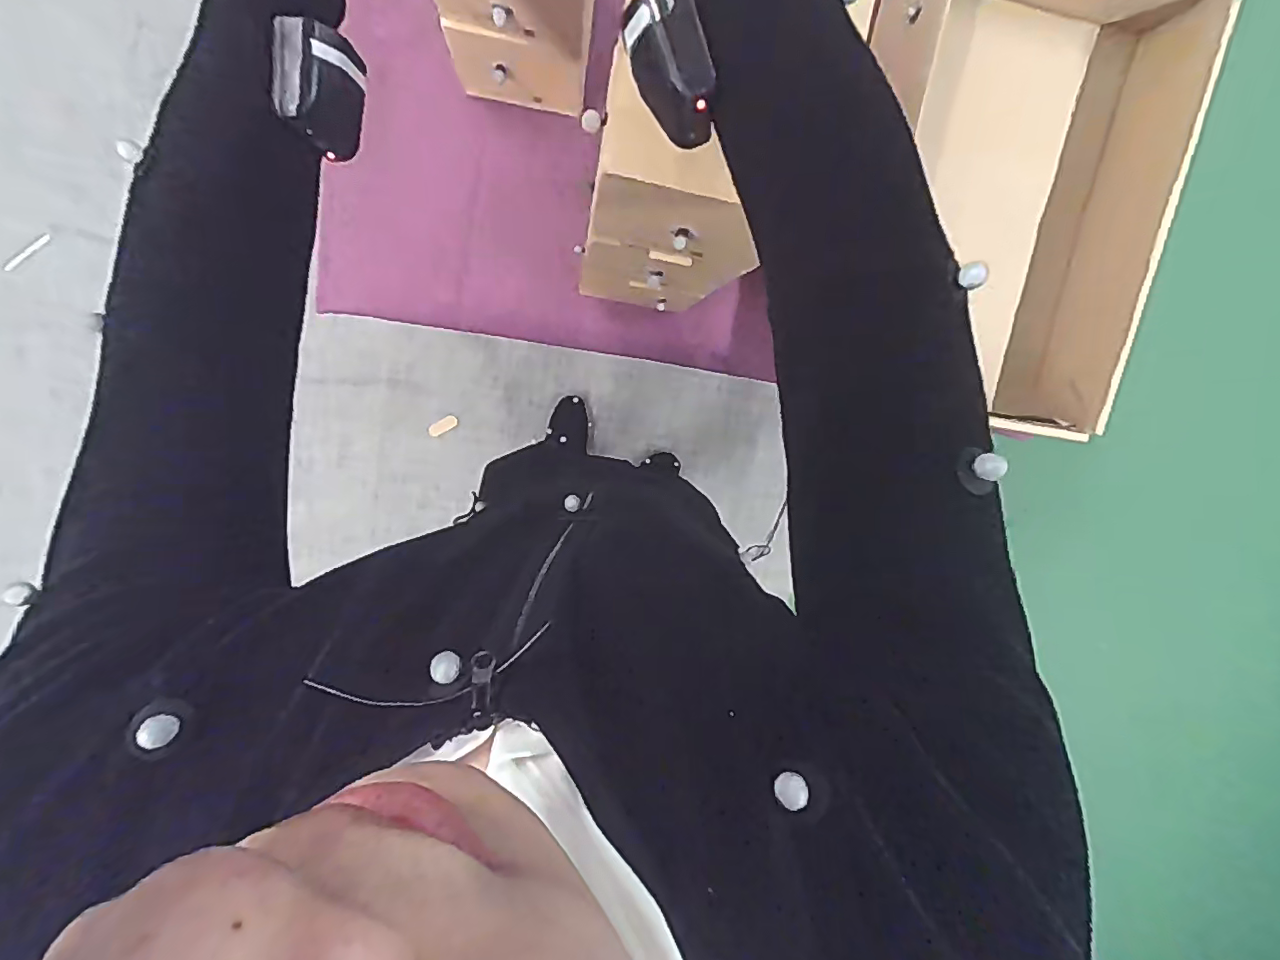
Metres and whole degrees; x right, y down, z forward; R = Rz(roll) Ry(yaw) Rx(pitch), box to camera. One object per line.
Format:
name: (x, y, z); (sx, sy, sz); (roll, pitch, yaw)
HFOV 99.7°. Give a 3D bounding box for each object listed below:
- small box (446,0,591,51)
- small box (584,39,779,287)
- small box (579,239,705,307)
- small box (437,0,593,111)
small box: (-0.118, -0.580, 0.527); (0.168, 0.176, 0.179); (11, 100, -9)
small box: (0.031, -0.324, 0.598); (0.168, 0.176, 0.179); (8, 100, -10)
small box: (0.009, -0.351, 0.757); (0.168, 0.176, 0.179); (8, 99, -10)
small box: (-0.147, -0.610, 0.686); (0.168, 0.176, 0.179); (7, 100, -9)
